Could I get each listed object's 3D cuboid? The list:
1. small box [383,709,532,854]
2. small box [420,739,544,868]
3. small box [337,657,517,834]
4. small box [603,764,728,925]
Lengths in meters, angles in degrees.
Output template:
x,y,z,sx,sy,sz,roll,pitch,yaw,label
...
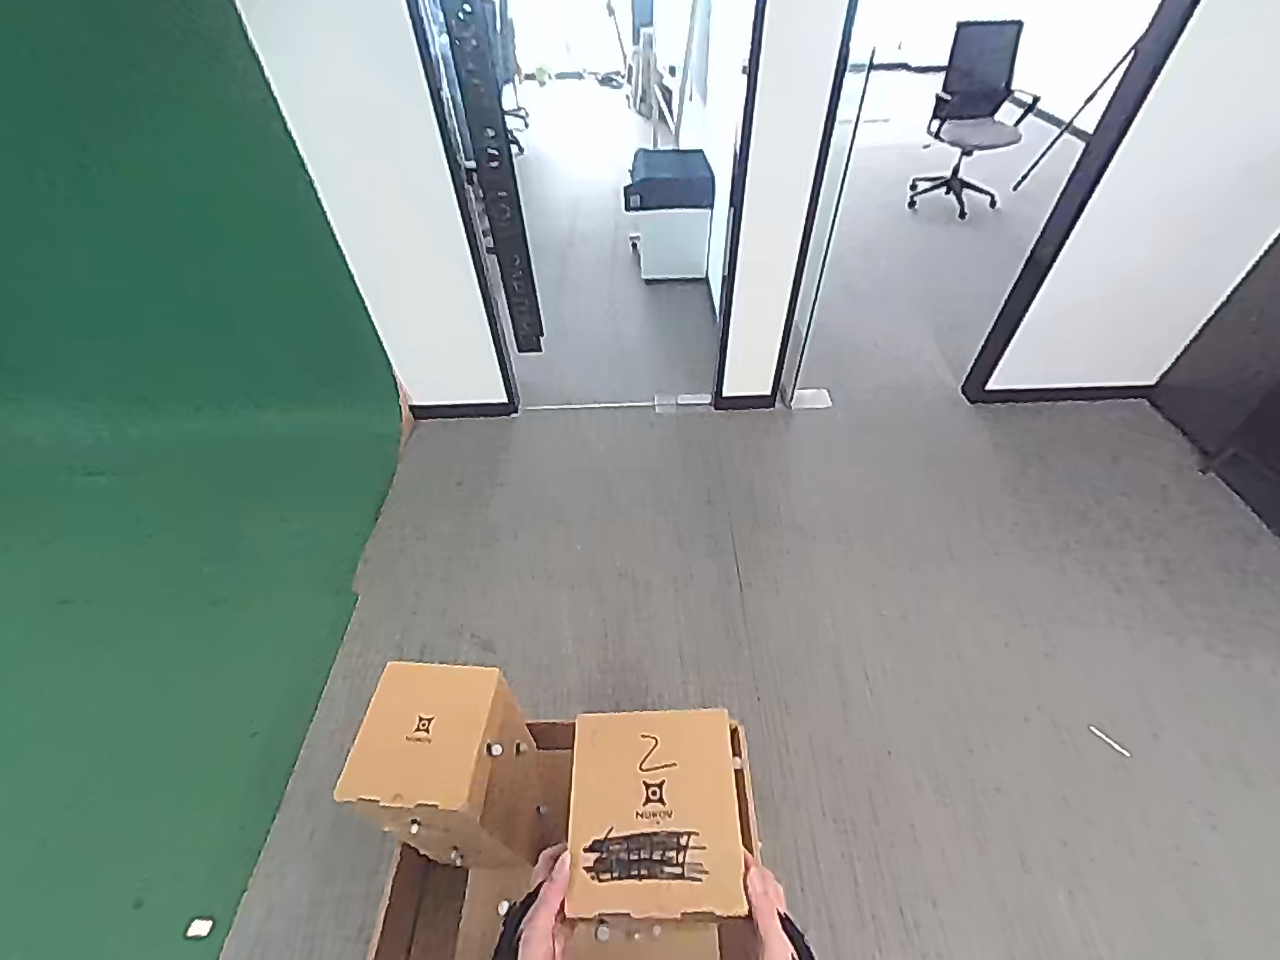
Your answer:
x,y,z,sx,sy,sz,roll,pitch,yaw,label
-0.281,0.486,0.881,0.168,0.176,0.179,2,47,4,small box
-0.278,0.597,1.000,0.168,0.176,0.179,-1,47,2,small box
-0.280,0.374,0.763,0.168,0.176,0.179,3,48,4,small box
0.033,0.549,0.814,0.168,0.176,0.179,-2,47,0,small box
